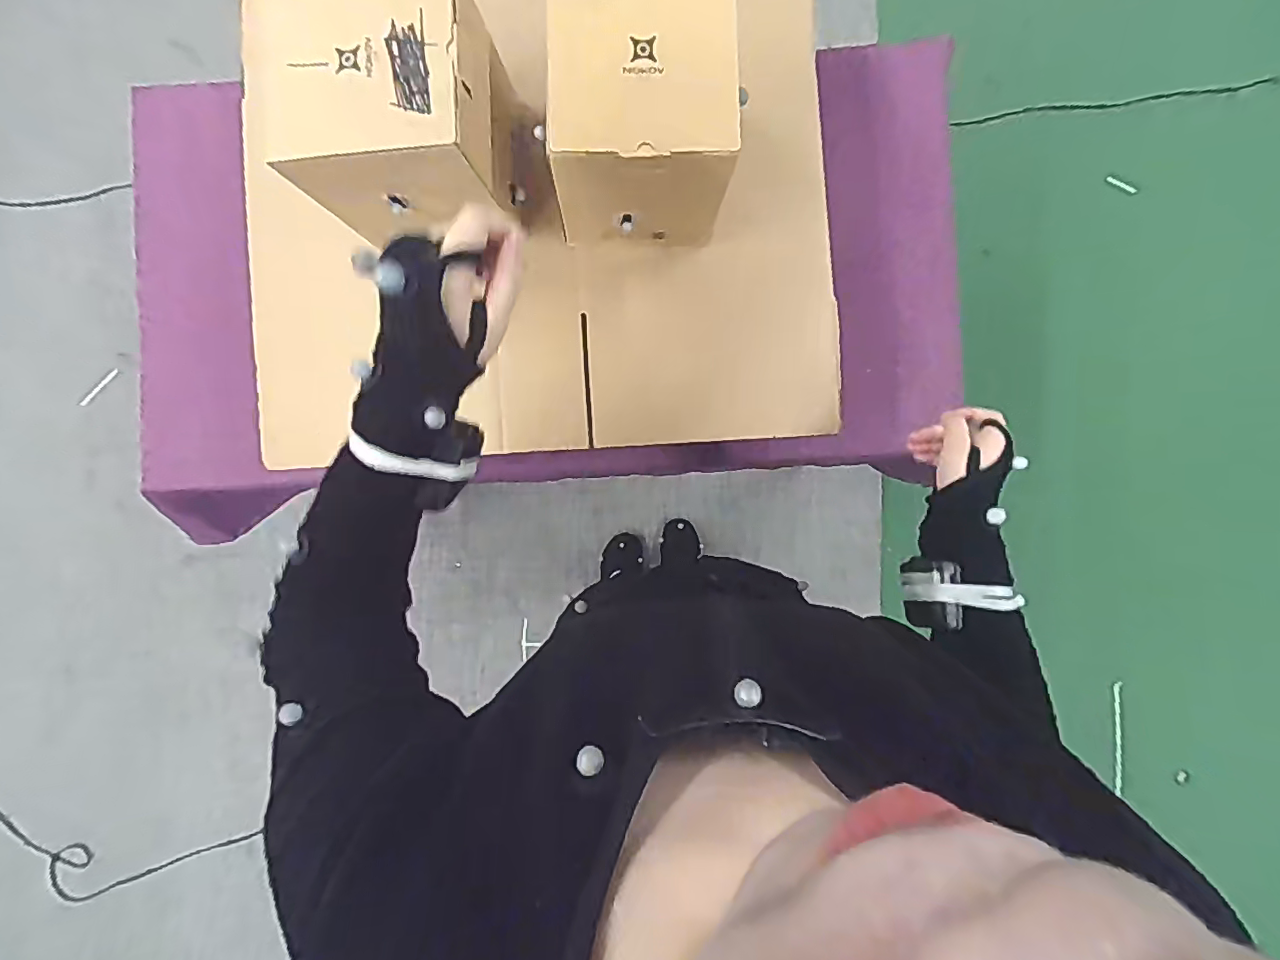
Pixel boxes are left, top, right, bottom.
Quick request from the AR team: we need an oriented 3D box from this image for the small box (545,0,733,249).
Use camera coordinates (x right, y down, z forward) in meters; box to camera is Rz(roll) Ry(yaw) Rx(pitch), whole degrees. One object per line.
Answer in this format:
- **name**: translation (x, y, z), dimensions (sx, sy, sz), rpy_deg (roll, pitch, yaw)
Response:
- **small box**: translation (-0.004, -0.360, 0.551), dimensions (0.168, 0.176, 0.179), rpy_deg (-1, 89, -2)

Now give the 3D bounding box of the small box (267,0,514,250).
- **small box**: translation (-0.234, -0.354, 0.549), dimensions (0.179, 0.176, 0.168), rpy_deg (-2, 88, 7)
